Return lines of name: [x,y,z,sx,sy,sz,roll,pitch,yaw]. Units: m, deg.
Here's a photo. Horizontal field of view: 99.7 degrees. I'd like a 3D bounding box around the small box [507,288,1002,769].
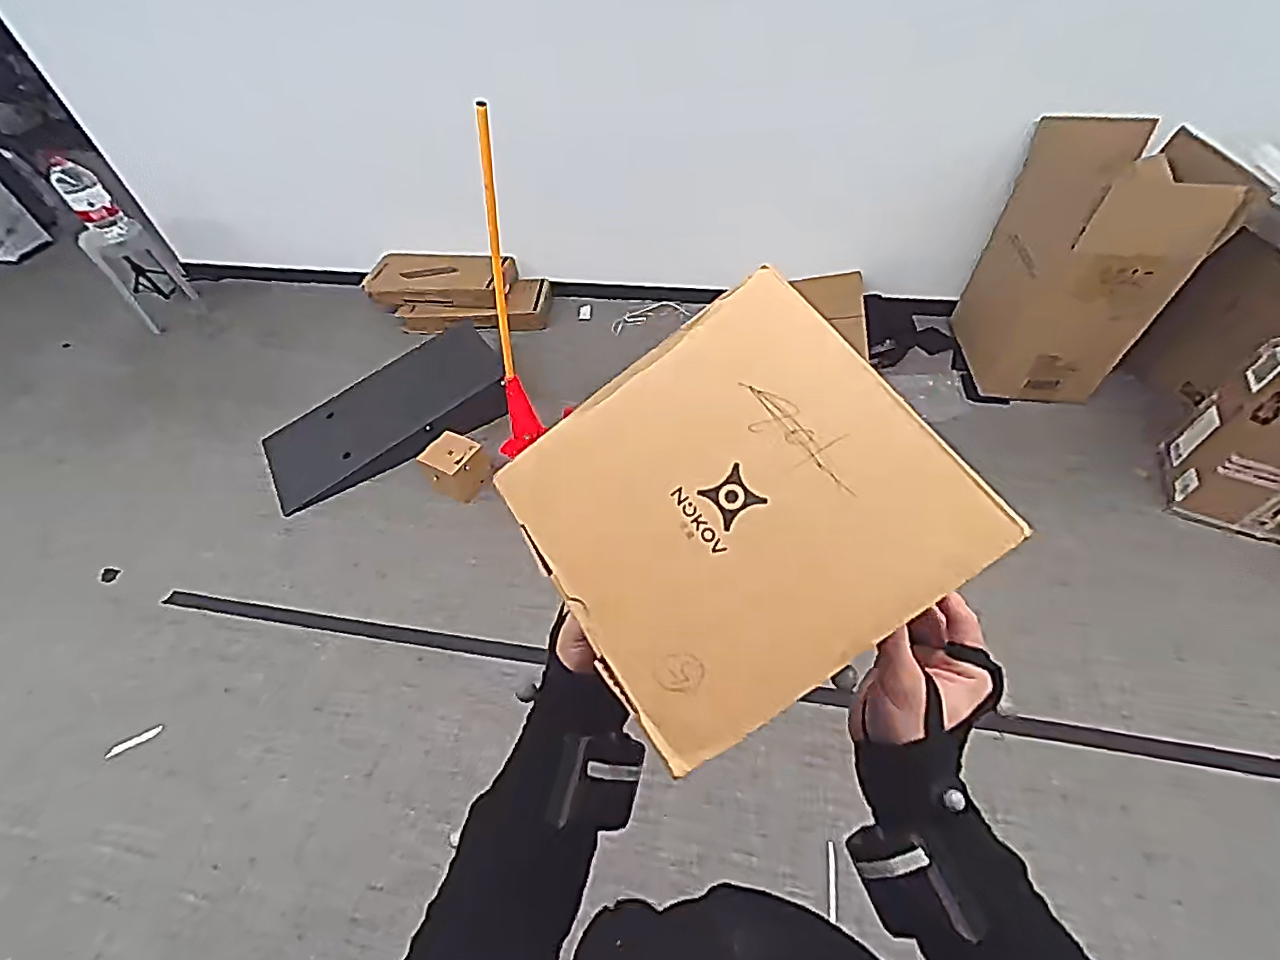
small box: [0.060,0.032,0.329,0.179,0.176,0.168,-37,72,3]
